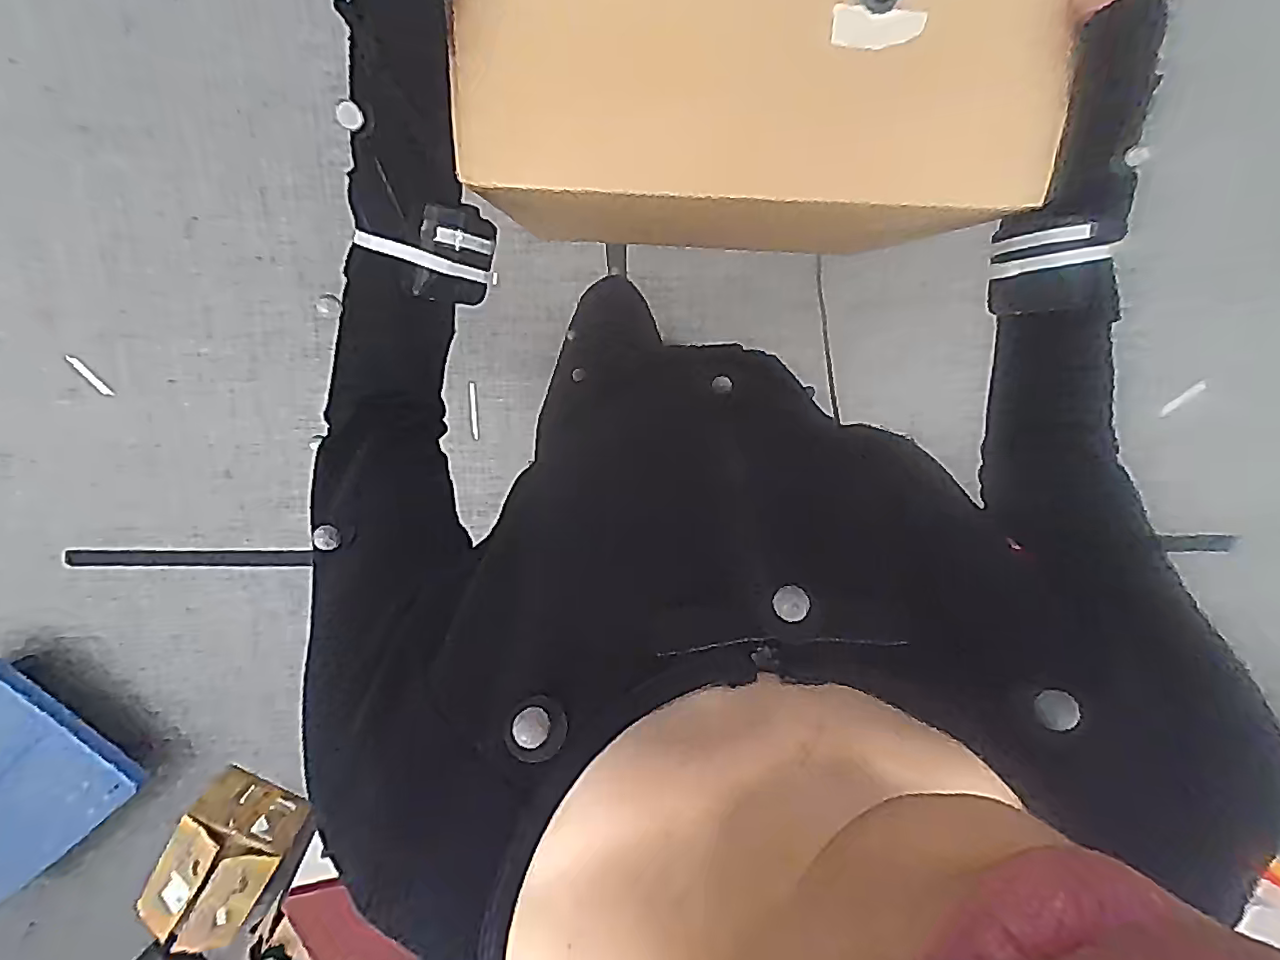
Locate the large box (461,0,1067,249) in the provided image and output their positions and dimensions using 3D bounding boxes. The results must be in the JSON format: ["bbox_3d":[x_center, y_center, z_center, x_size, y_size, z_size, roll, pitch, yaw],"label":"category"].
[{"bbox_3d":[0.078,-0.394,0.482,0.408,0.320,0.320,2,107,-2],"label":"large box"}]
